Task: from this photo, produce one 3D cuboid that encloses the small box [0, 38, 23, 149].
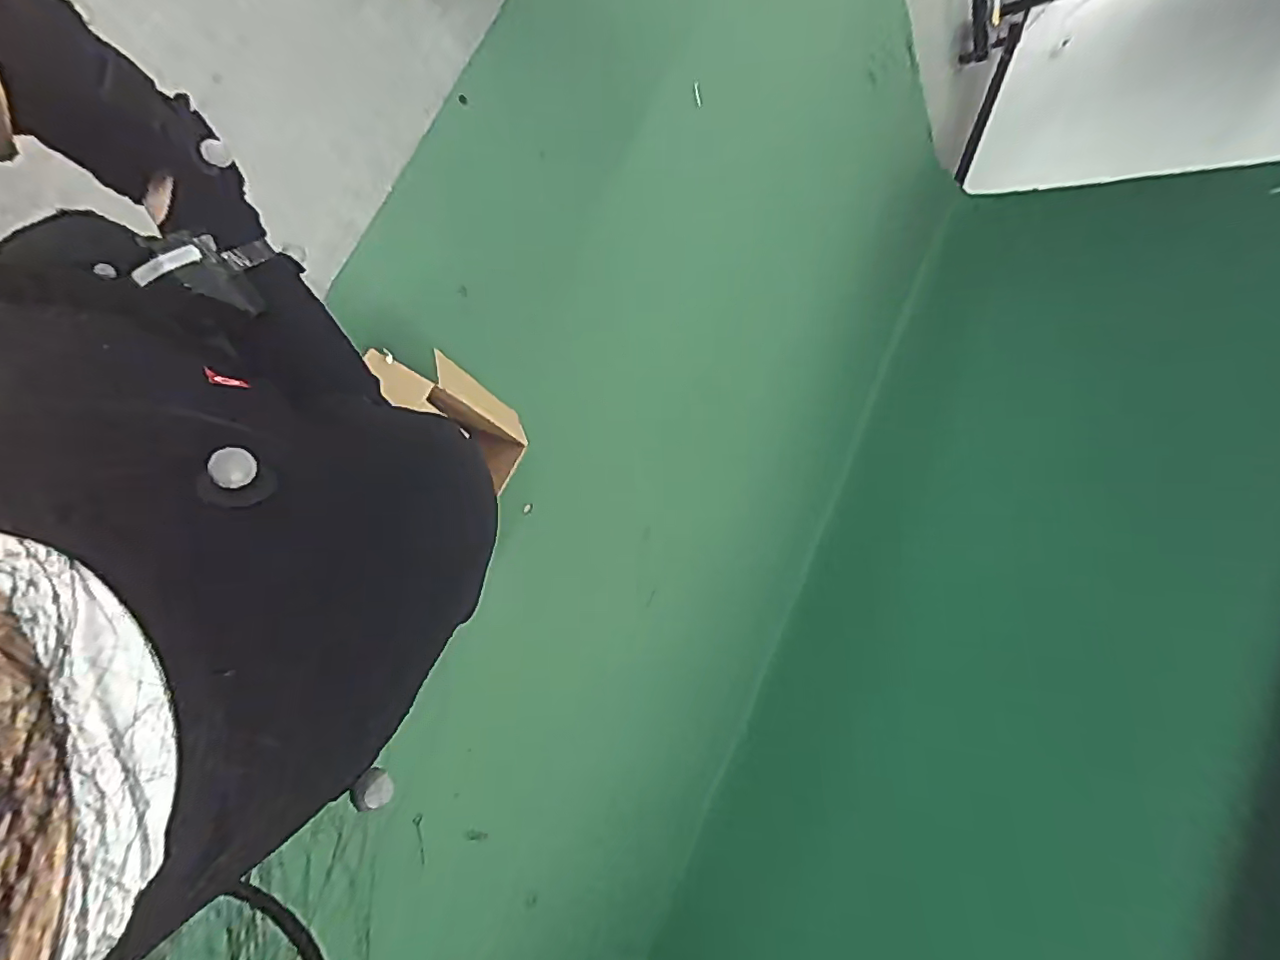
[{"bbox_3d":[-0.412,-0.249,0.218,0.168,0.176,0.179,-28,122,-41],"label":"small box"}]
